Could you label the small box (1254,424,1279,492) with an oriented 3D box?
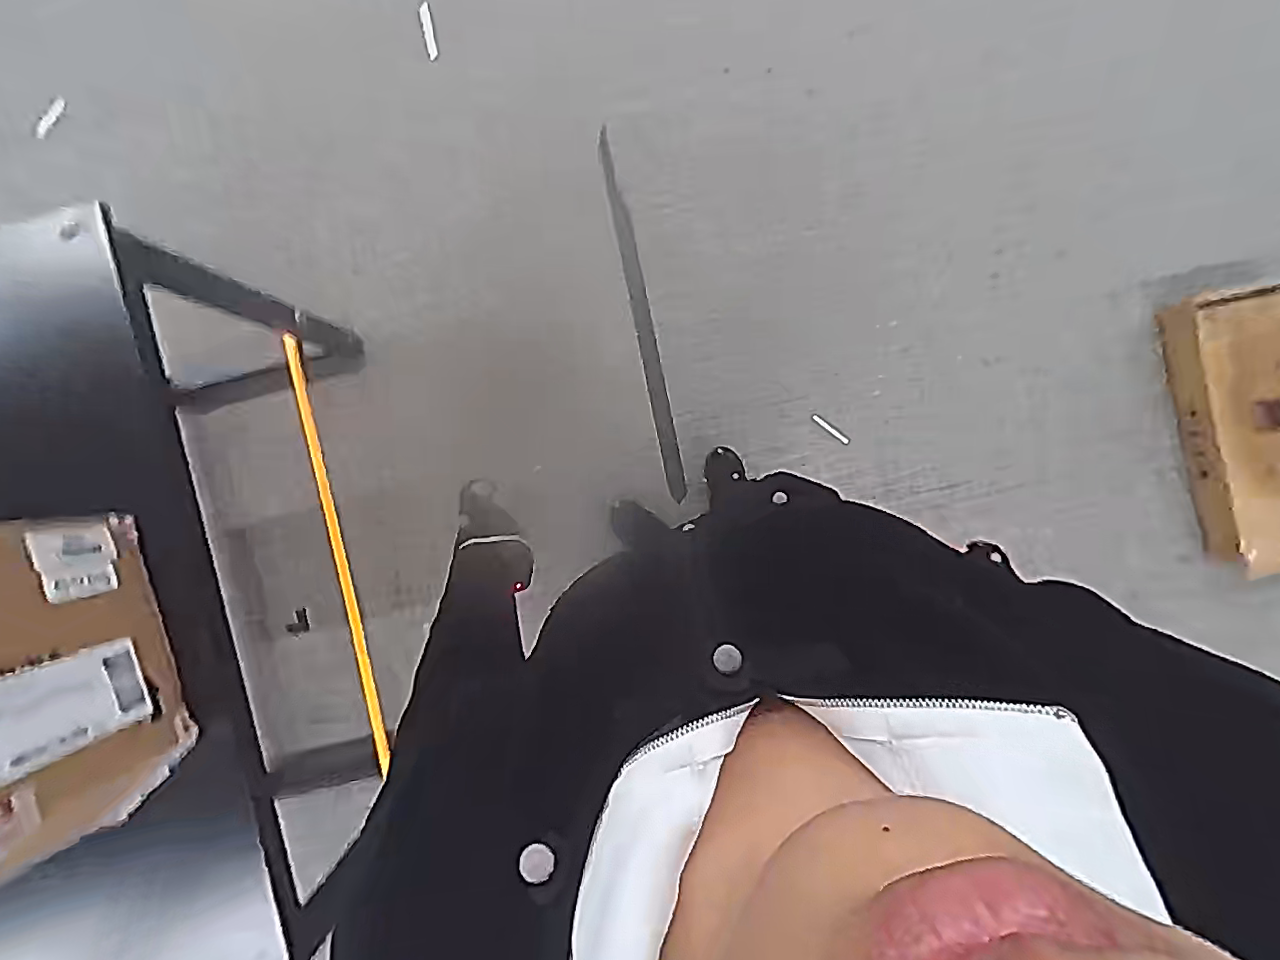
[{"bbox_3d":[1.654,-0.065,1.290,0.179,0.176,0.168,-14,91,1],"label":"small box"}]
